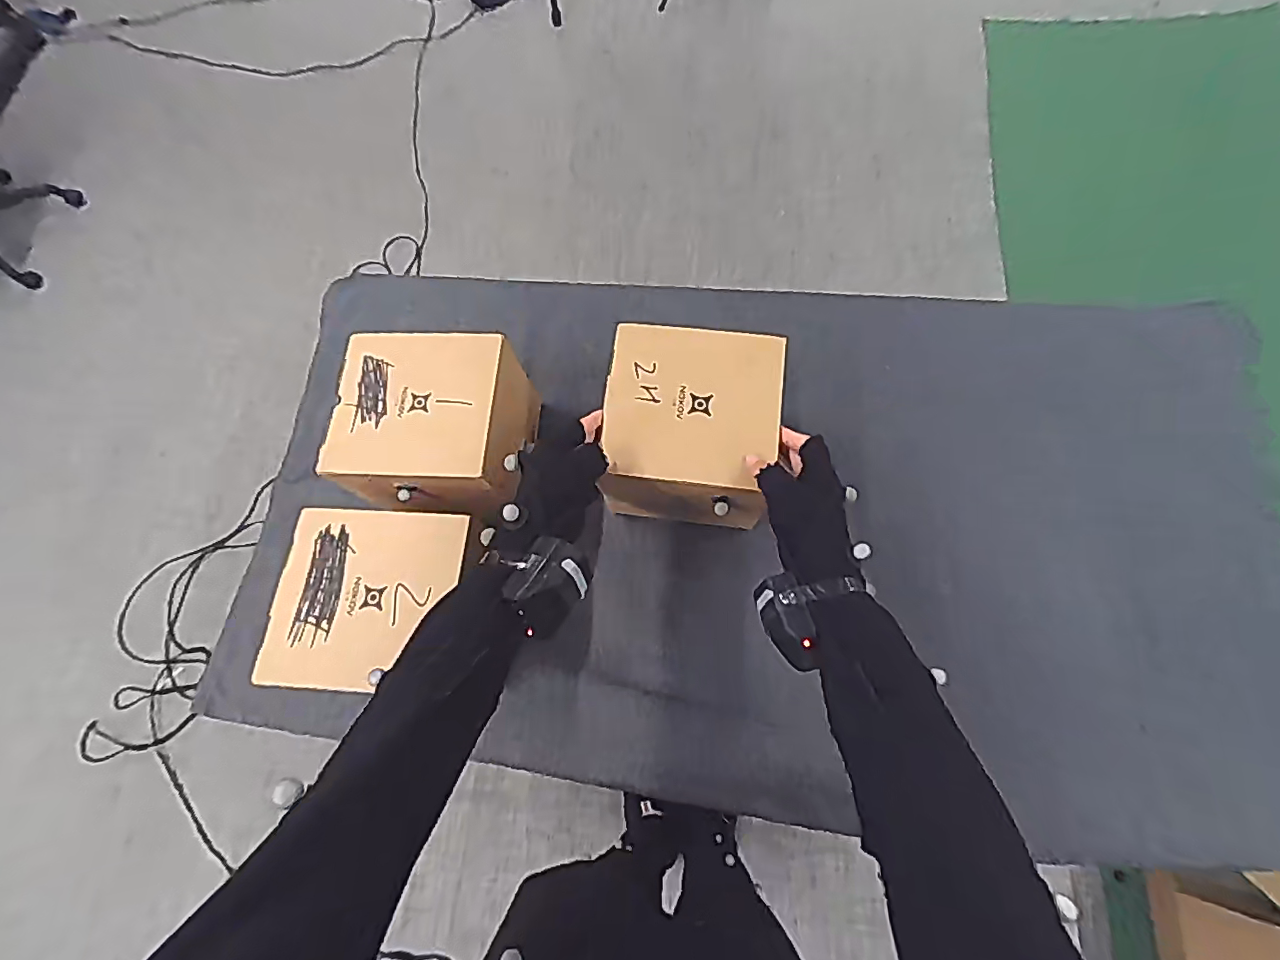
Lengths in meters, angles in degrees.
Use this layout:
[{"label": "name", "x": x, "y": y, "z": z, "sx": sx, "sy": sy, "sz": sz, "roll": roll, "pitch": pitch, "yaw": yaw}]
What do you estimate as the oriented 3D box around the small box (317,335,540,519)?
[{"label": "small box", "x": -0.232, "y": -0.054, "z": 0.641, "sx": 0.179, "sy": 0.176, "sz": 0.168, "roll": 2, "pitch": 72, "yaw": 5}]
